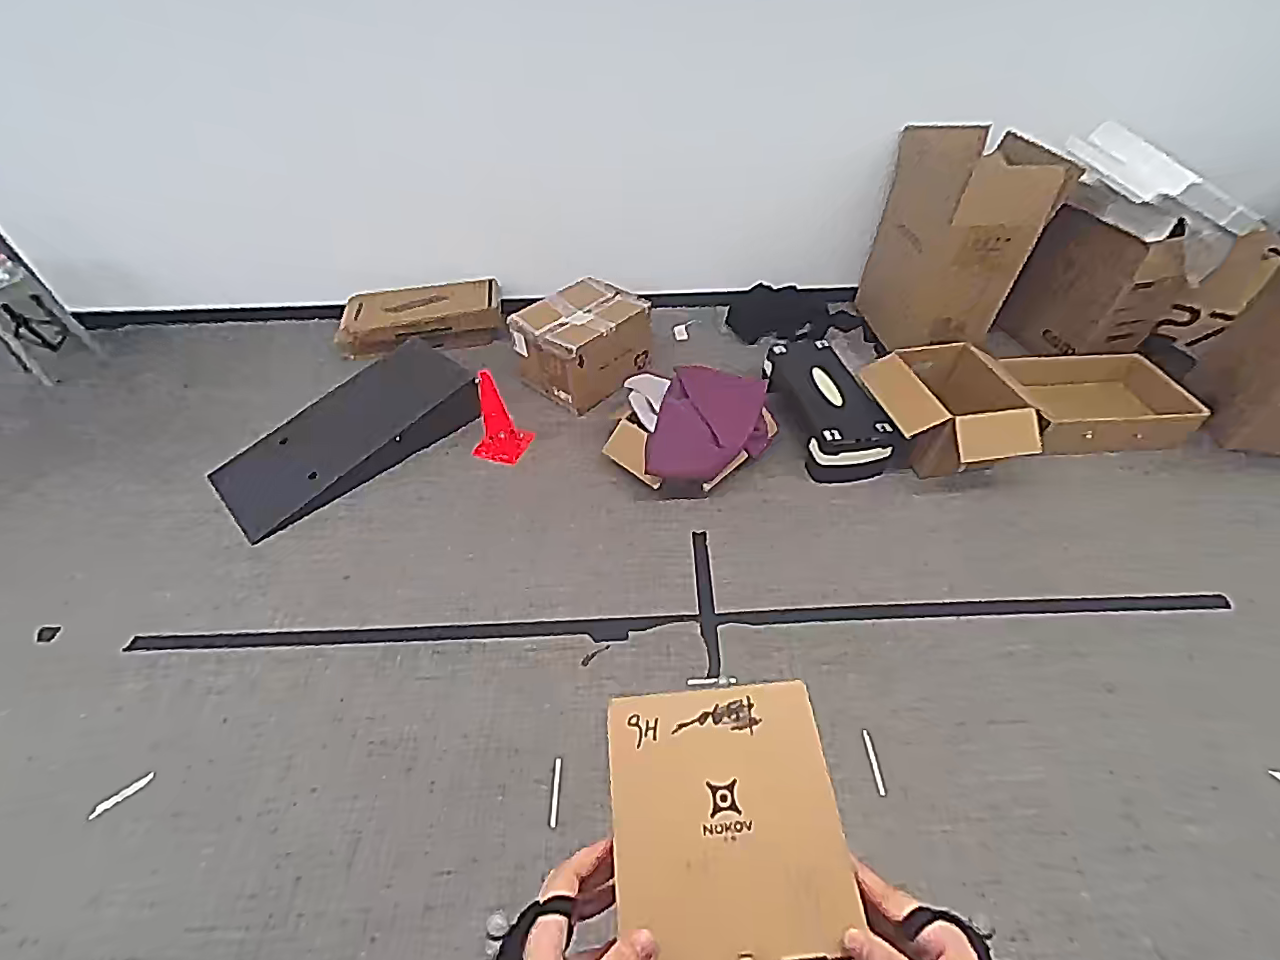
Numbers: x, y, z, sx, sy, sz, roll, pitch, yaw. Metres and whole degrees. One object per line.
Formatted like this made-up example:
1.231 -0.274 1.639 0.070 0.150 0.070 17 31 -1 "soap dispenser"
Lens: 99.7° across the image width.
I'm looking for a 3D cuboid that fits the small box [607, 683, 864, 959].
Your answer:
0.064 0.290 0.462 0.168 0.176 0.179 -6 55 -1 "small box"
